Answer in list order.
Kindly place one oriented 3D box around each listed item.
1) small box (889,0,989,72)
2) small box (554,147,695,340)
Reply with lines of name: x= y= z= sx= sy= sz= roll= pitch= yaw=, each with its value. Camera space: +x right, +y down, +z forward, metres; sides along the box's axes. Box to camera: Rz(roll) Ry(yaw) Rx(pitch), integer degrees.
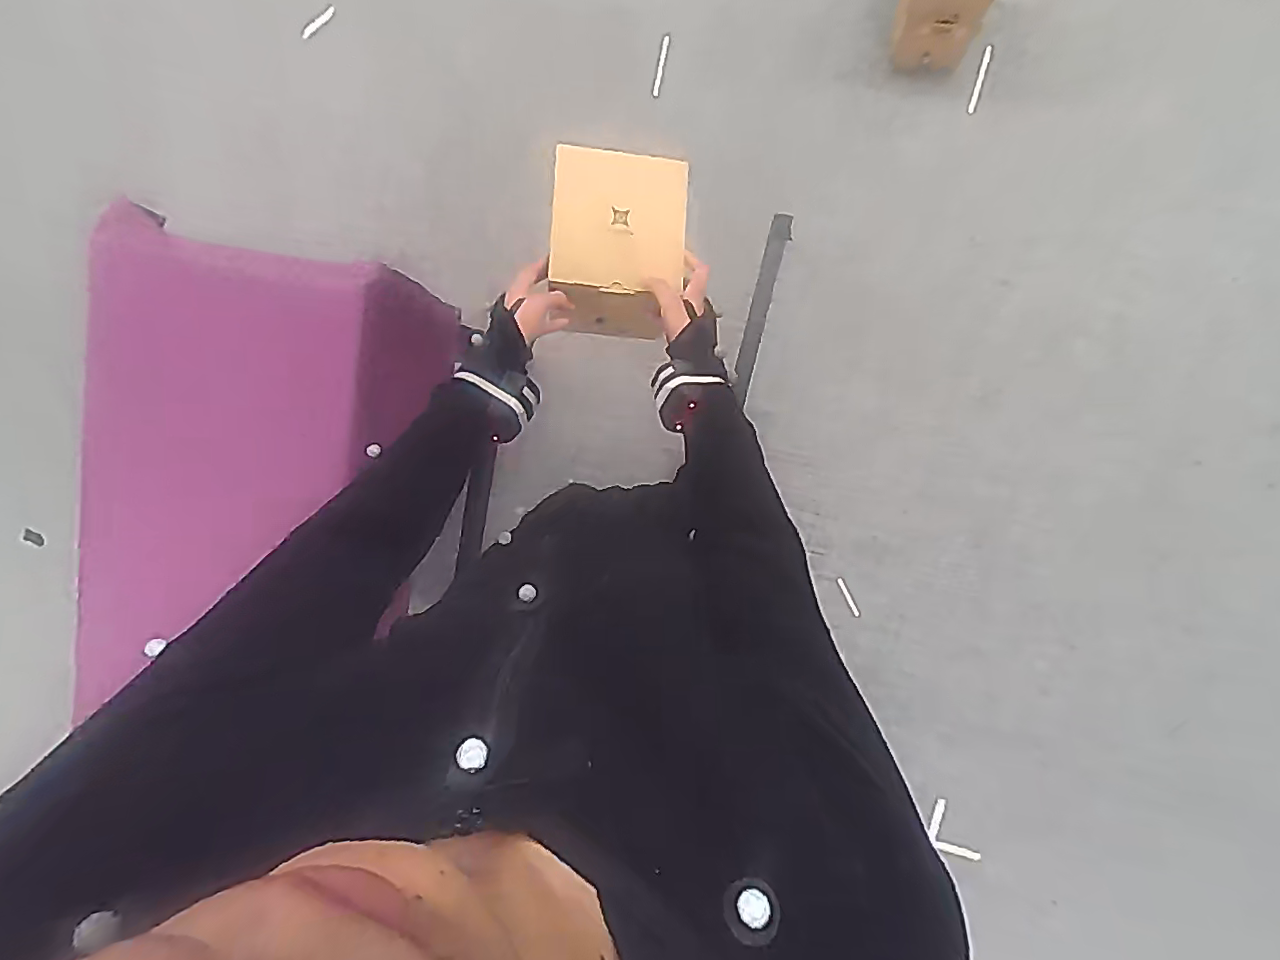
small box: x=0.697 y=-1.096 z=1.254 sx=0.168 sy=0.176 sz=0.179 roll=10 pitch=100 yaw=10
small box: x=-0.029 y=-0.308 z=0.738 sx=0.168 sy=0.176 sz=0.179 roll=4 pitch=87 yaw=-8
